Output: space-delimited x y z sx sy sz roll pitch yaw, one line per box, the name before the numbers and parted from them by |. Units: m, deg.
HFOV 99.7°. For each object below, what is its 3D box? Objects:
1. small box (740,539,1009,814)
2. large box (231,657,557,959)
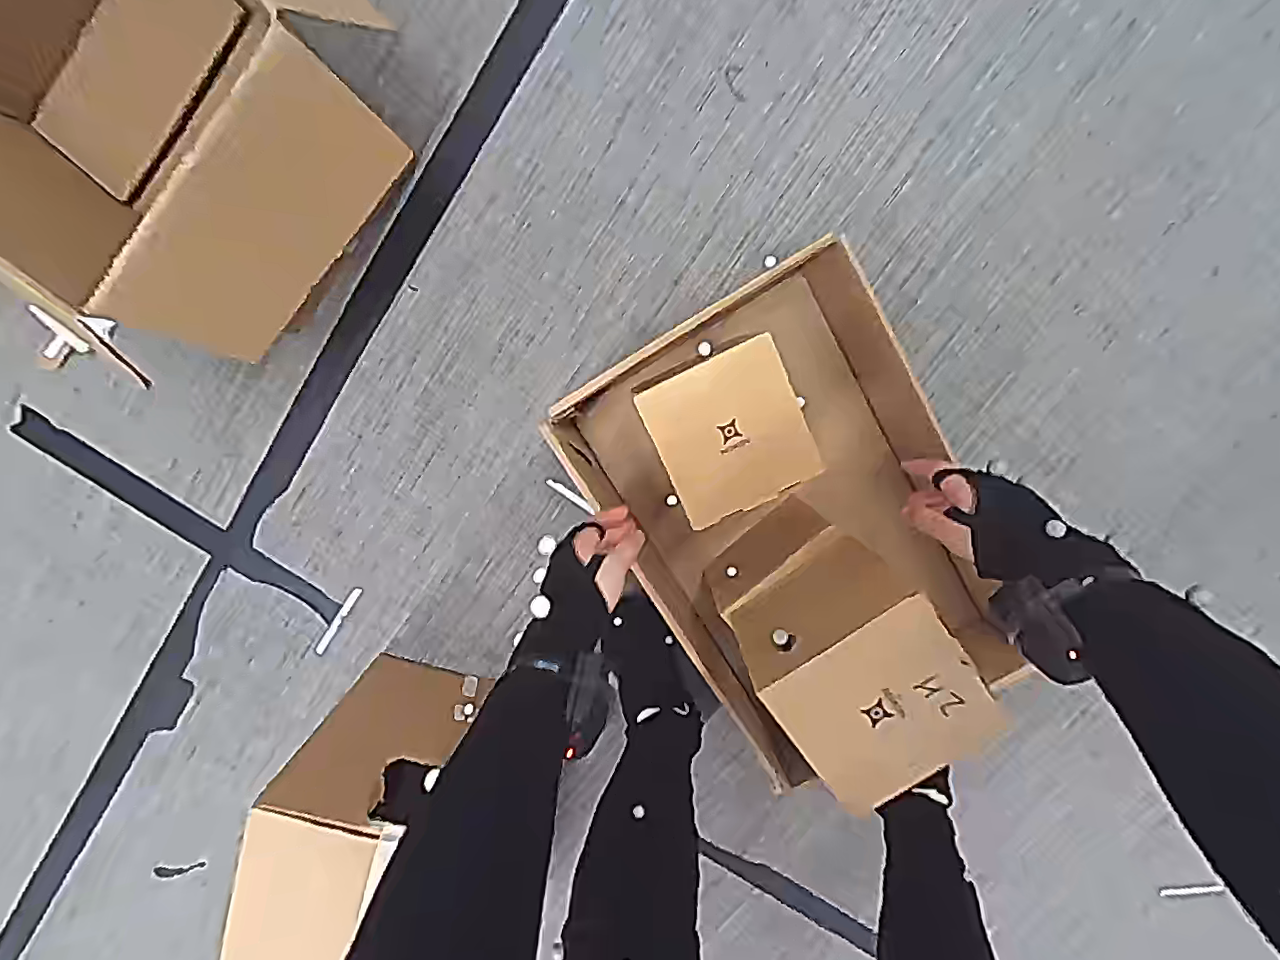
small box | 0.221 0.189 0.567 0.179 0.176 0.168 -36 99 6
large box | -0.329 0.537 0.785 0.320 0.320 0.408 16 103 -4
